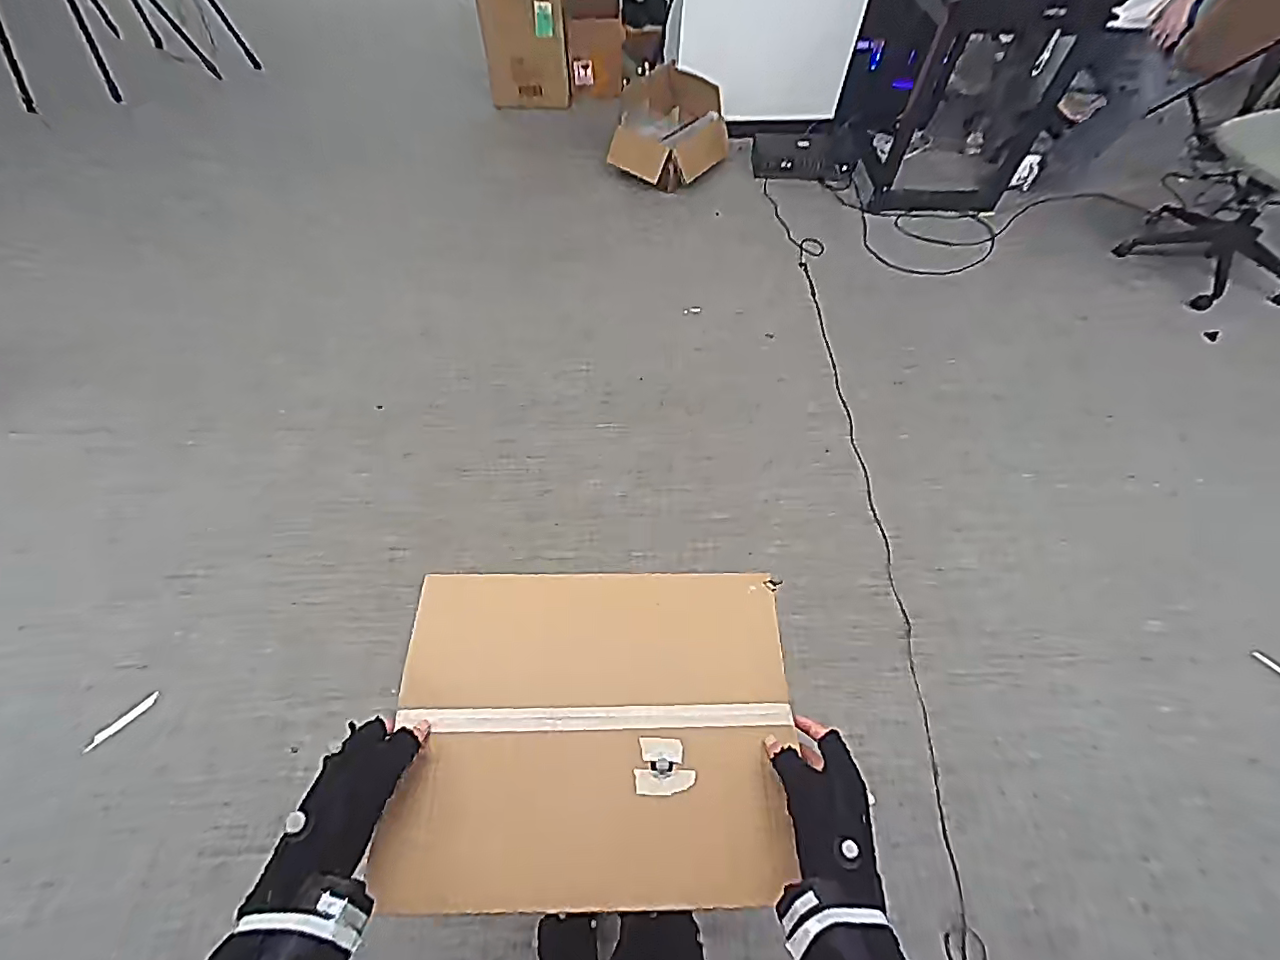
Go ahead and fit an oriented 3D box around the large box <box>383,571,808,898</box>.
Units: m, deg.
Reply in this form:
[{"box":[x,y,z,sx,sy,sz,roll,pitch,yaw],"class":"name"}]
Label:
[{"box":[-0.050,0.323,0.703,0.408,0.320,0.320,0,59,-3],"class":"large box"}]
